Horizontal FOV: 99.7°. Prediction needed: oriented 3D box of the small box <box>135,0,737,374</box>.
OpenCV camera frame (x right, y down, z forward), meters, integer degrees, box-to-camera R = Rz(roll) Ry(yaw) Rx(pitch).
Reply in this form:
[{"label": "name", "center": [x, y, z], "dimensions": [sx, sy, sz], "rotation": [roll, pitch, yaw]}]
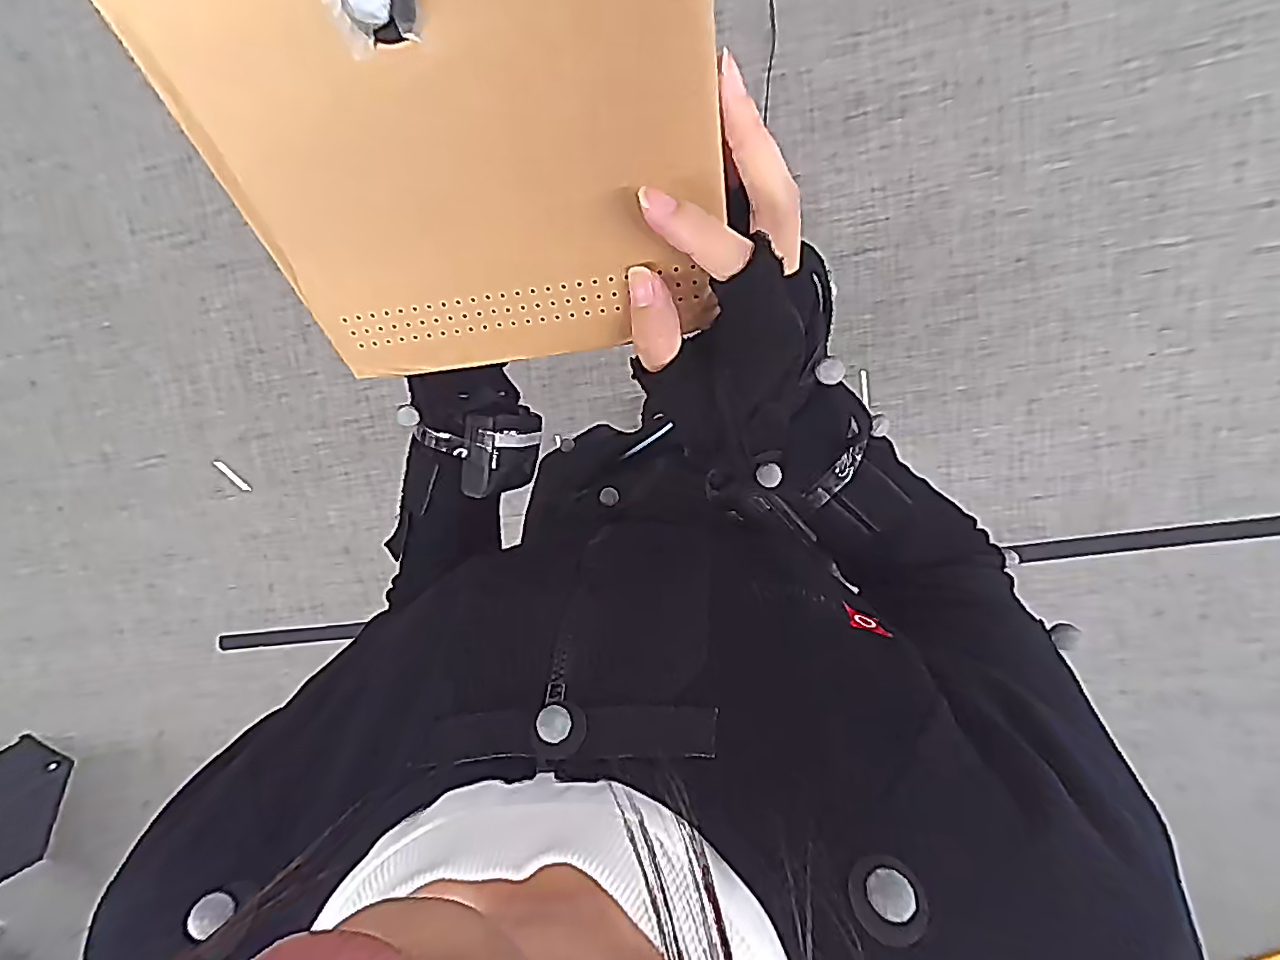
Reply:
[{"label": "small box", "center": [-0.054, -0.163, 0.239], "dimensions": [0.179, 0.168, 0.176], "rotation": [-5, 138, 9]}]
